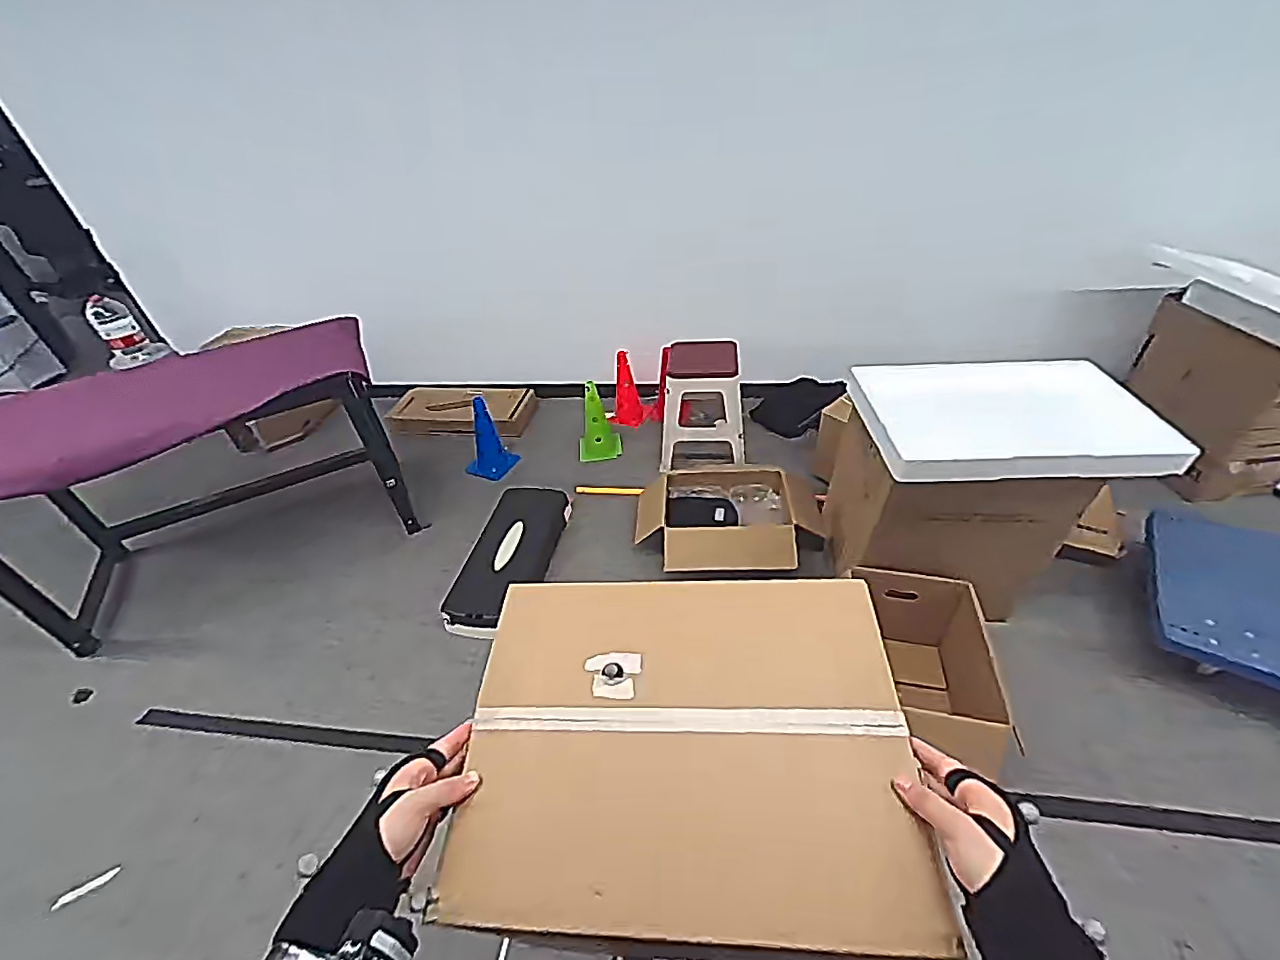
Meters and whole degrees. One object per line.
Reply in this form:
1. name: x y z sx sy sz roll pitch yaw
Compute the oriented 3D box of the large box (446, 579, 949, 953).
1. large box: 0.061 0.337 0.630 0.408 0.320 0.320 -4 44 7
